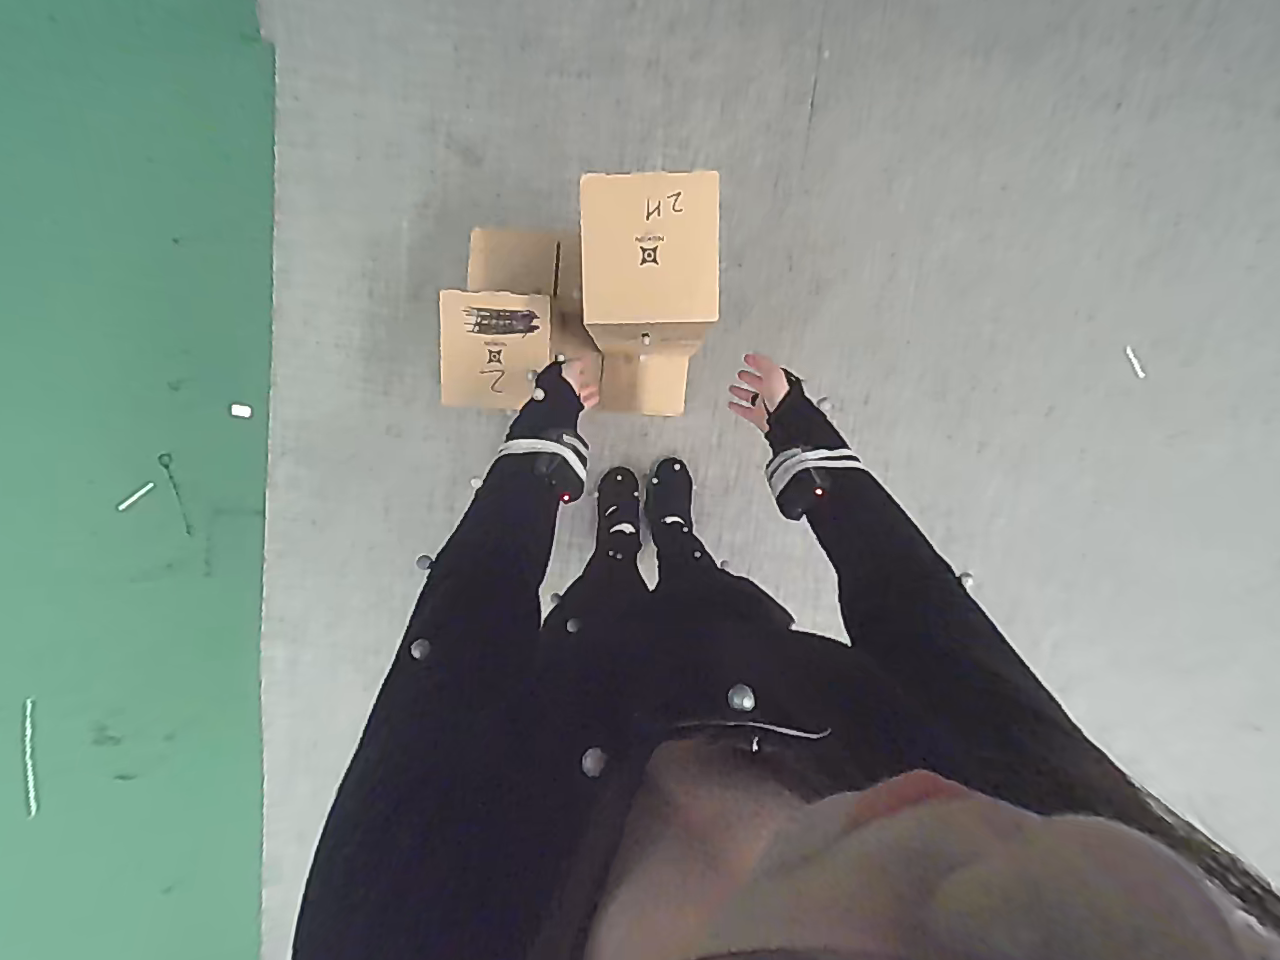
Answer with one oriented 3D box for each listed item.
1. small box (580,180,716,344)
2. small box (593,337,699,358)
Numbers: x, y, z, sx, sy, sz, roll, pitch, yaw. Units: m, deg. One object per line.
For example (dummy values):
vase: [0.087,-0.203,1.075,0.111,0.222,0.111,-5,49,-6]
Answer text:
small box: [0.010,-0.281,0.734,0.168,0.176,0.179,0,97,0]
small box: [0.012,-0.302,0.898,0.168,0.176,0.179,2,98,1]
